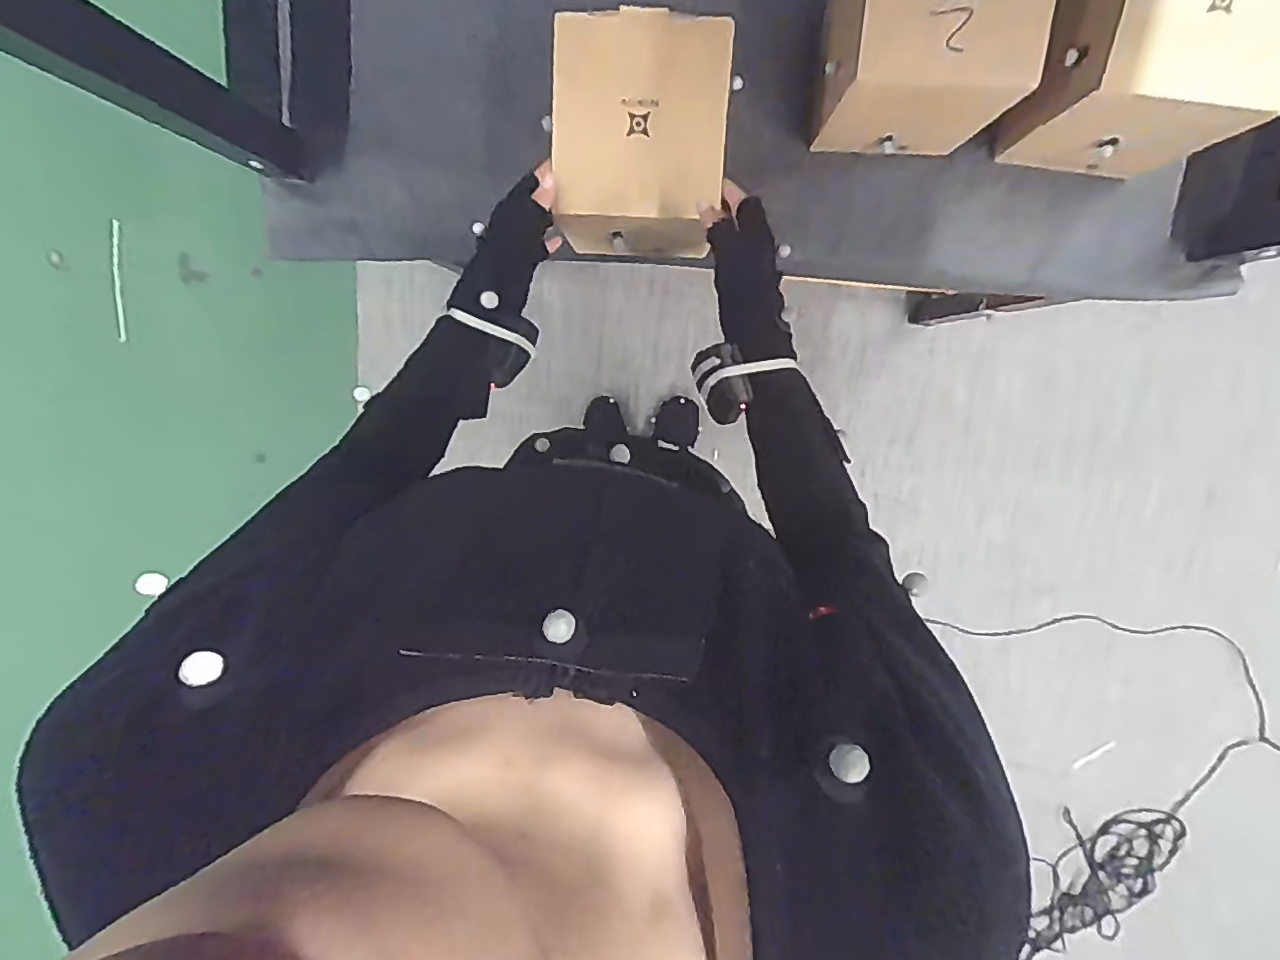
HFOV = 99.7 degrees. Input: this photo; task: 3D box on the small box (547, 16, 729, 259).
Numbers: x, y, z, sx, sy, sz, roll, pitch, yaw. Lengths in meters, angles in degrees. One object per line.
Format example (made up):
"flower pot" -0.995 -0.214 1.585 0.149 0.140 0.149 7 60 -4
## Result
"small box" -0.001 -0.350 0.589 0.168 0.176 0.179 3 99 1
